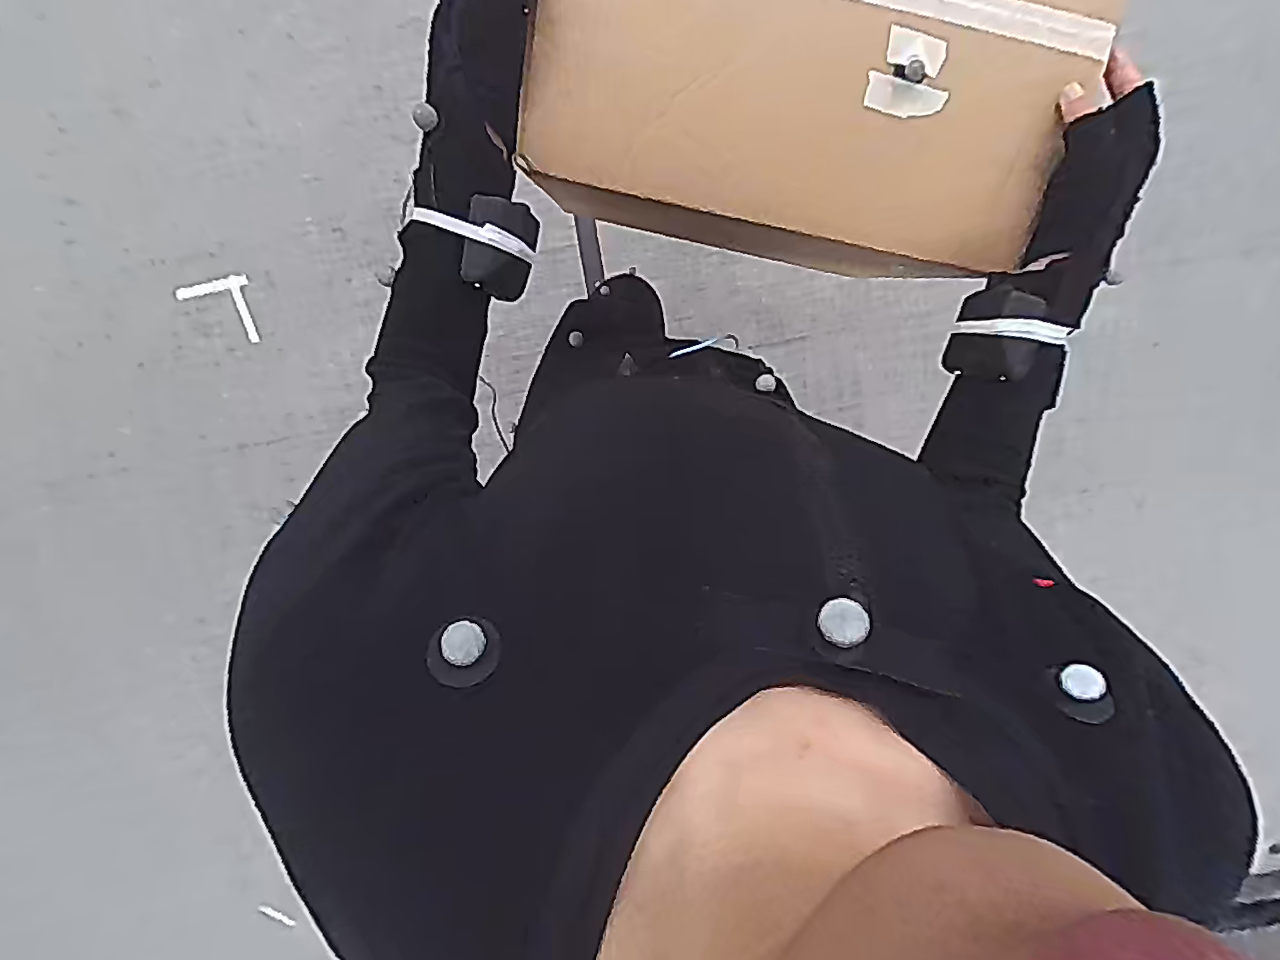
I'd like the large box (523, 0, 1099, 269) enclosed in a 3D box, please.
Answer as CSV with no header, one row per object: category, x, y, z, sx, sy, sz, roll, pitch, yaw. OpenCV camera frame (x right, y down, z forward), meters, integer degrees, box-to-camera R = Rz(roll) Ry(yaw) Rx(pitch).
large box,0.122,-0.401,0.520,0.408,0.320,0.320,9,111,-5
